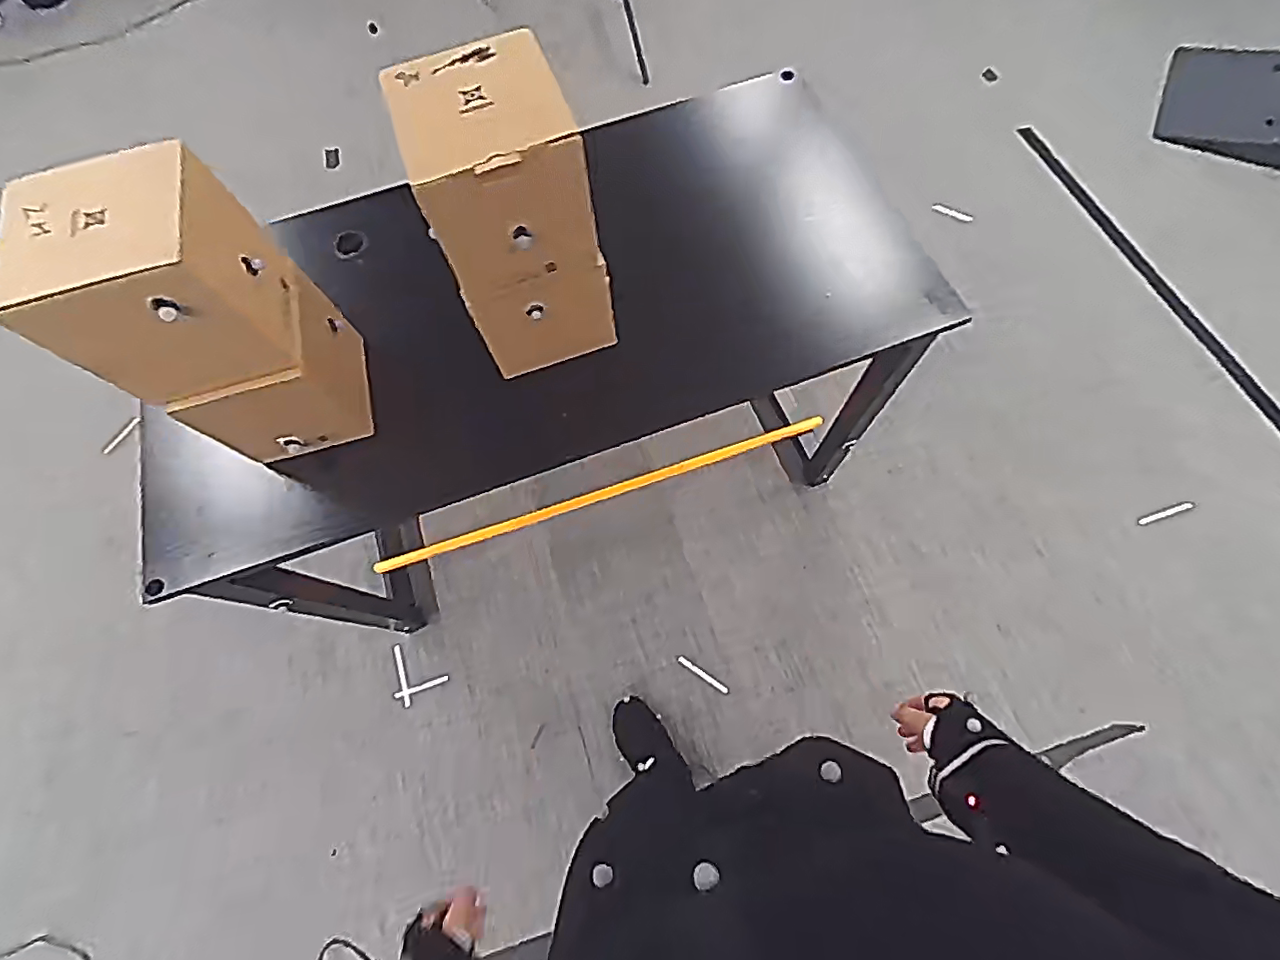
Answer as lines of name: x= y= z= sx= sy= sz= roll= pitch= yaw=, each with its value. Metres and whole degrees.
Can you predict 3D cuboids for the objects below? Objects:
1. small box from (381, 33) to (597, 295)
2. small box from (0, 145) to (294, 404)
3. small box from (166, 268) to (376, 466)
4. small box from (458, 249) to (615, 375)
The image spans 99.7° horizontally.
small box: x=-0.155 y=-0.334 z=0.603 sx=0.168 sy=0.176 sz=0.179 roll=-20 pitch=70 yaw=-4
small box: x=-0.499 y=-0.205 z=0.576 sx=0.179 sy=0.176 sz=0.168 roll=-17 pitch=69 yaw=-2
small box: x=-0.483 y=-0.143 z=0.728 sx=0.168 sy=0.176 sz=0.179 roll=-17 pitch=70 yaw=-2
small box: x=-0.145 y=-0.273 z=0.754 sx=0.179 sy=0.176 sz=0.168 roll=-19 pitch=70 yaw=-4
